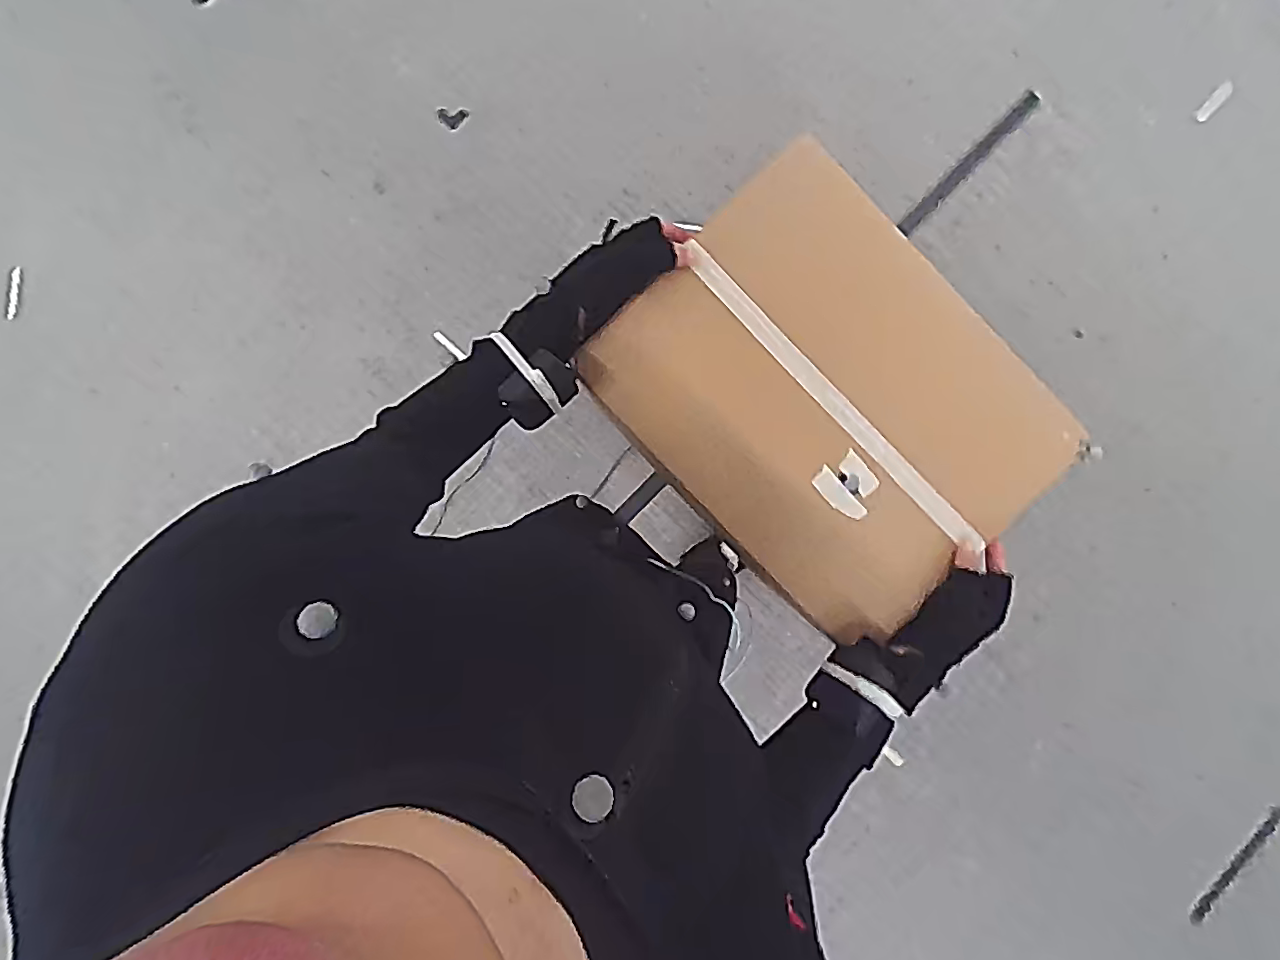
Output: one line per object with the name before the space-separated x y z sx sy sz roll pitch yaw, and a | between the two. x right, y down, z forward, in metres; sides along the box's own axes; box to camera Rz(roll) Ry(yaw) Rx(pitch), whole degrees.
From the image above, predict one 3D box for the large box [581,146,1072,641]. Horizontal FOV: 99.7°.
large box | 0.180 -0.087 0.676 0.320 0.320 0.408 -44 93 1
